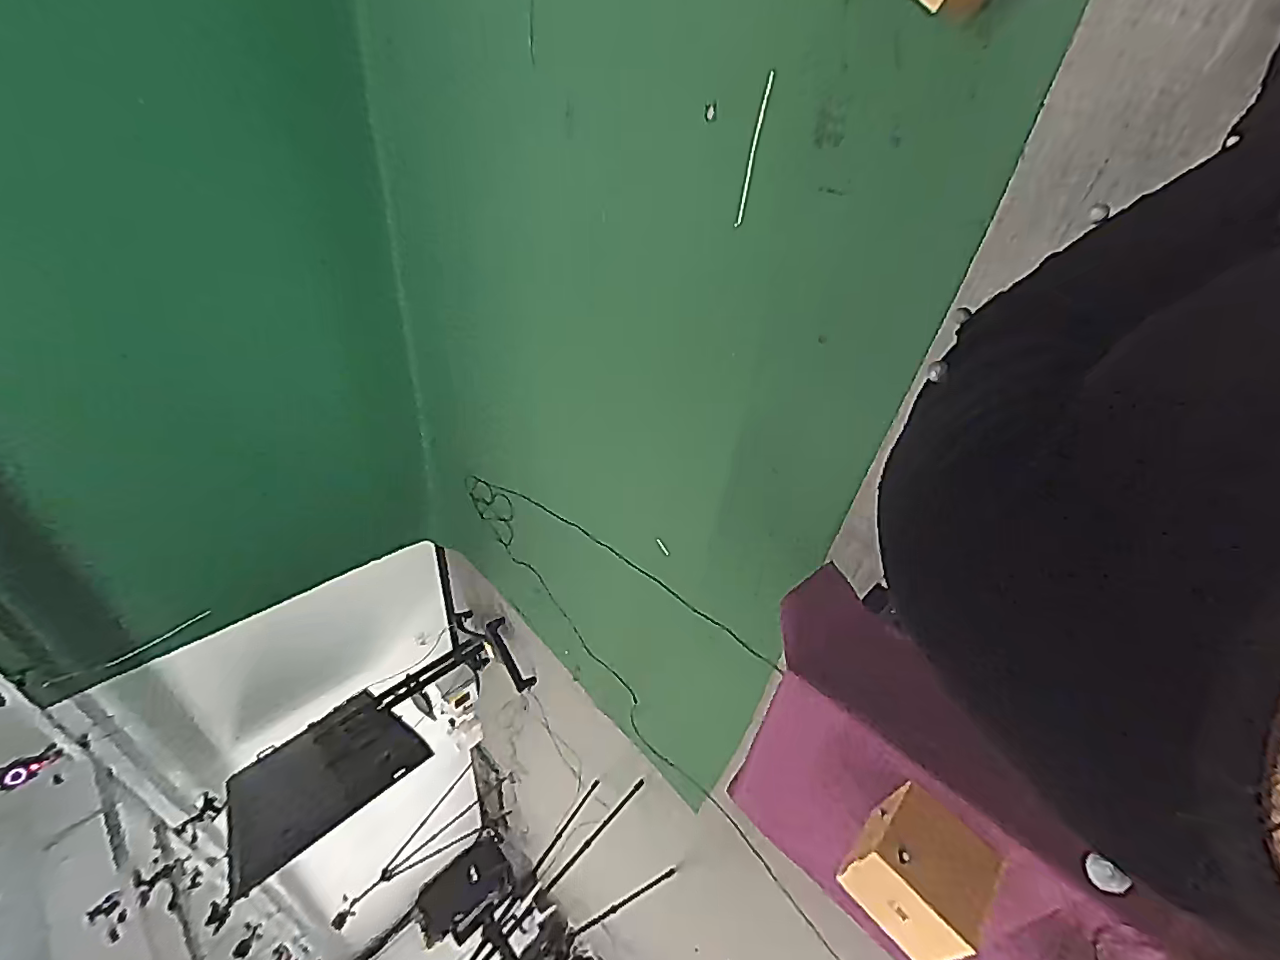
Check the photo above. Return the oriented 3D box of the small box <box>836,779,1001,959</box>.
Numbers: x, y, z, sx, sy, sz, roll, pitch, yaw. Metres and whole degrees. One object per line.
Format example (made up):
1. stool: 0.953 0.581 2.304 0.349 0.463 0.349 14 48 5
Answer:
1. small box: 0.488 0.677 0.950 0.179 0.176 0.168 39 137 29
